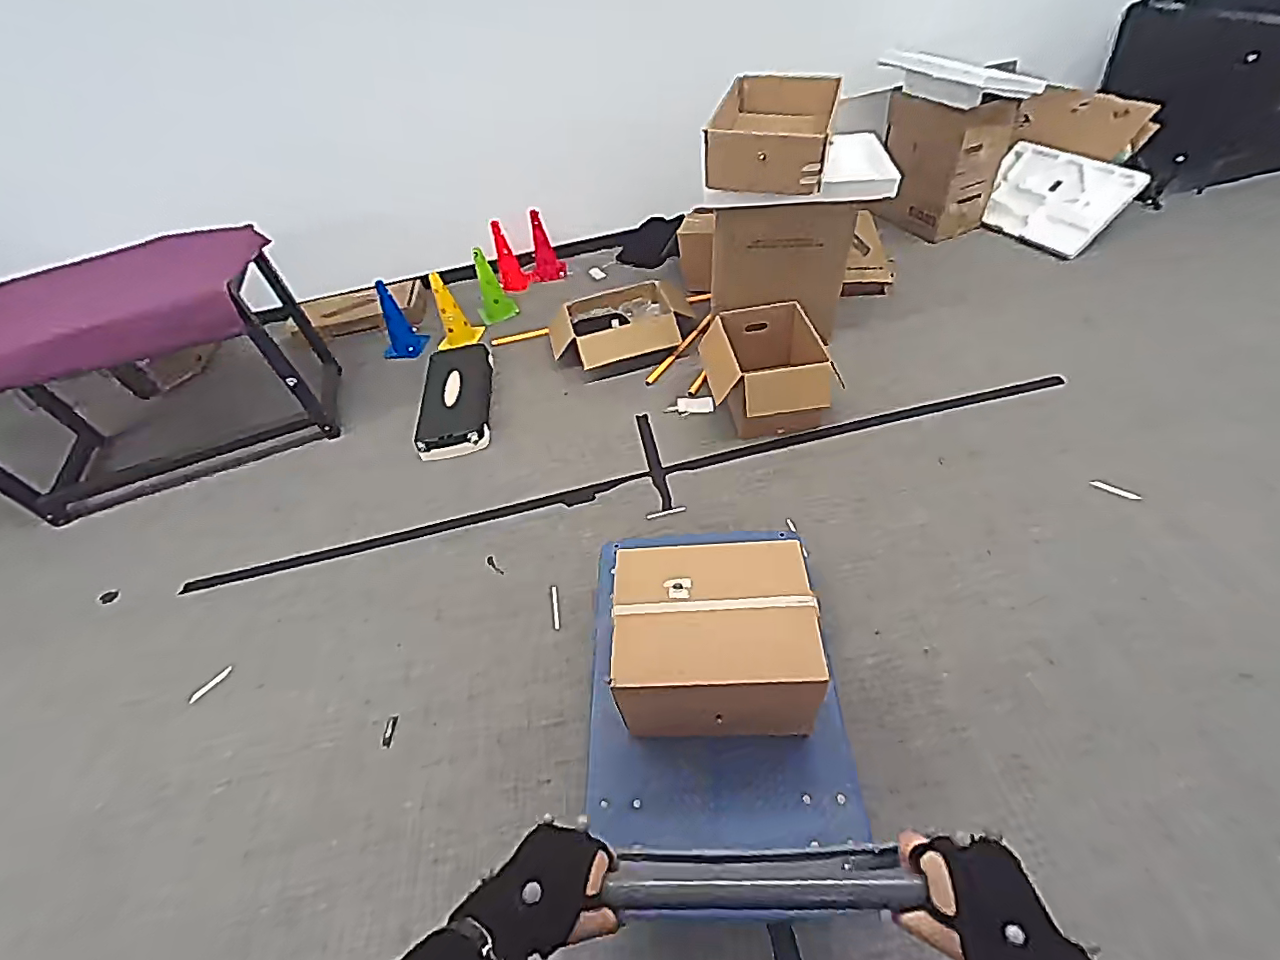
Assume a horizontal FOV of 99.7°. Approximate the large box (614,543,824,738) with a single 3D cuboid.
[{"bbox_3d":[0.166,0.370,1.225,0.408,0.320,0.320,-6,47,6],"label":"large box"}]
